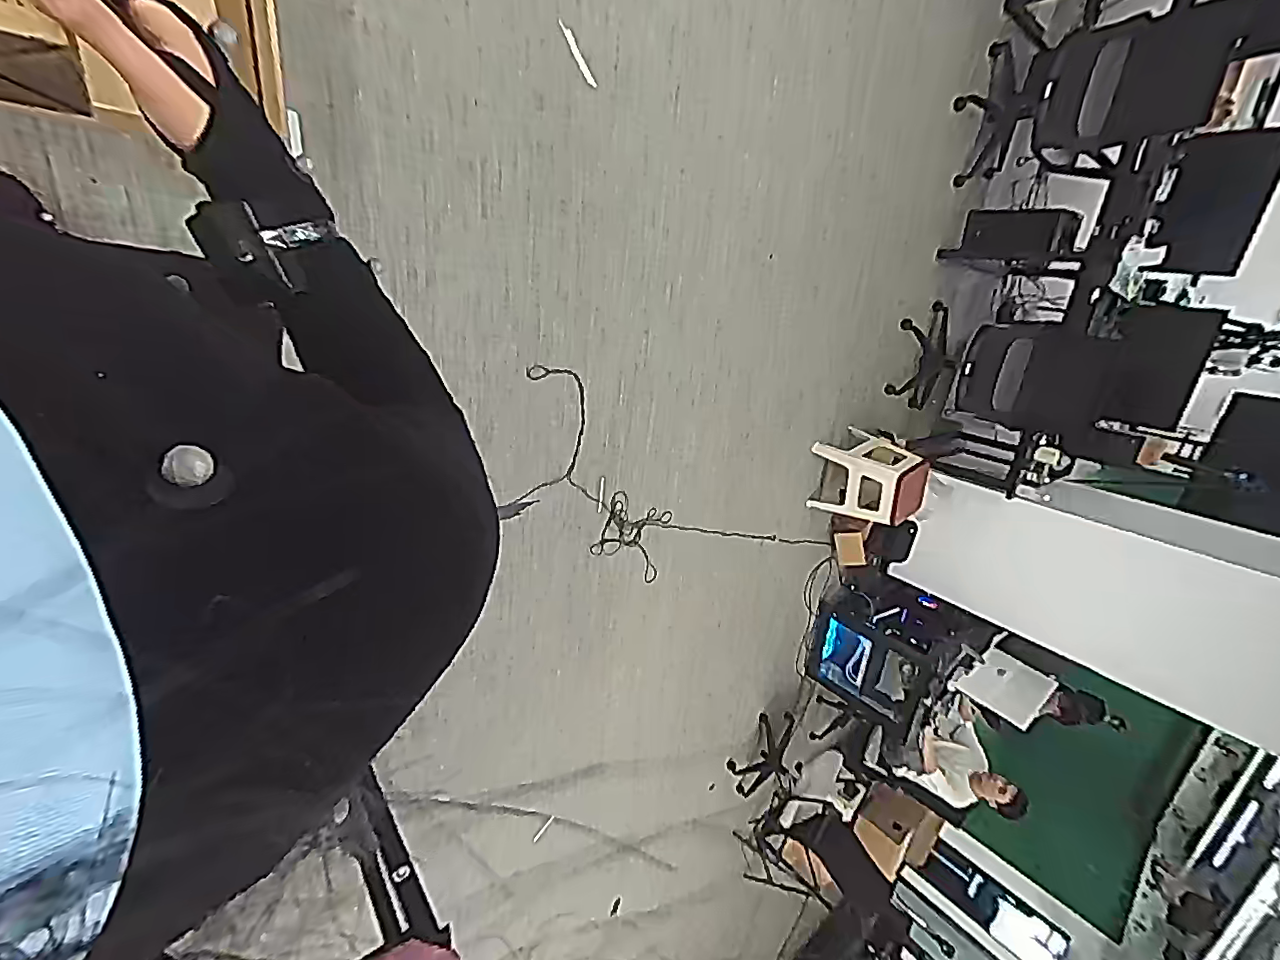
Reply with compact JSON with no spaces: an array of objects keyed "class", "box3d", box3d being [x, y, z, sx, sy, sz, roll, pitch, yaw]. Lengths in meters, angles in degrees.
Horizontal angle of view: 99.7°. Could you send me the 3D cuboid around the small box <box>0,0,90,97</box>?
[{"class":"small box","box3d":[-0.416,-0.323,0.274,0.168,0.179,0.176,-11,113,-40]}]
